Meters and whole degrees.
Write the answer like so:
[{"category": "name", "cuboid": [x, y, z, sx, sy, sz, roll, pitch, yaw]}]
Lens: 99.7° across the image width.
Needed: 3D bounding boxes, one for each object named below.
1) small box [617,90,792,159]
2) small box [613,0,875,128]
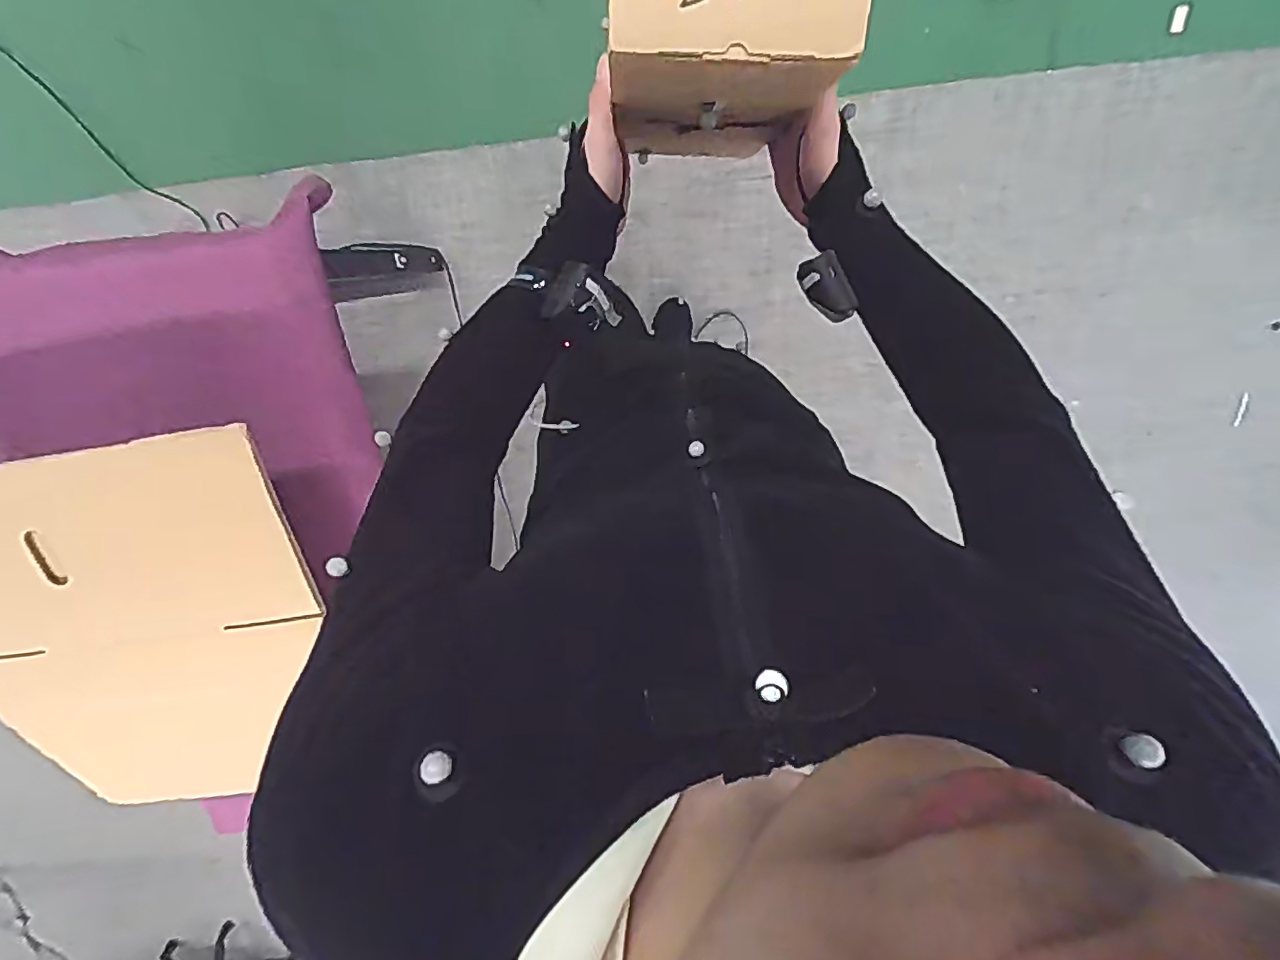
[{"category": "small box", "cuboid": [0.062, -0.437, 0.544, 0.168, 0.176, 0.179, 1, 111, -2]}, {"category": "small box", "cuboid": [0.065, -0.379, 0.390, 0.168, 0.176, 0.179, 1, 112, -2]}]
